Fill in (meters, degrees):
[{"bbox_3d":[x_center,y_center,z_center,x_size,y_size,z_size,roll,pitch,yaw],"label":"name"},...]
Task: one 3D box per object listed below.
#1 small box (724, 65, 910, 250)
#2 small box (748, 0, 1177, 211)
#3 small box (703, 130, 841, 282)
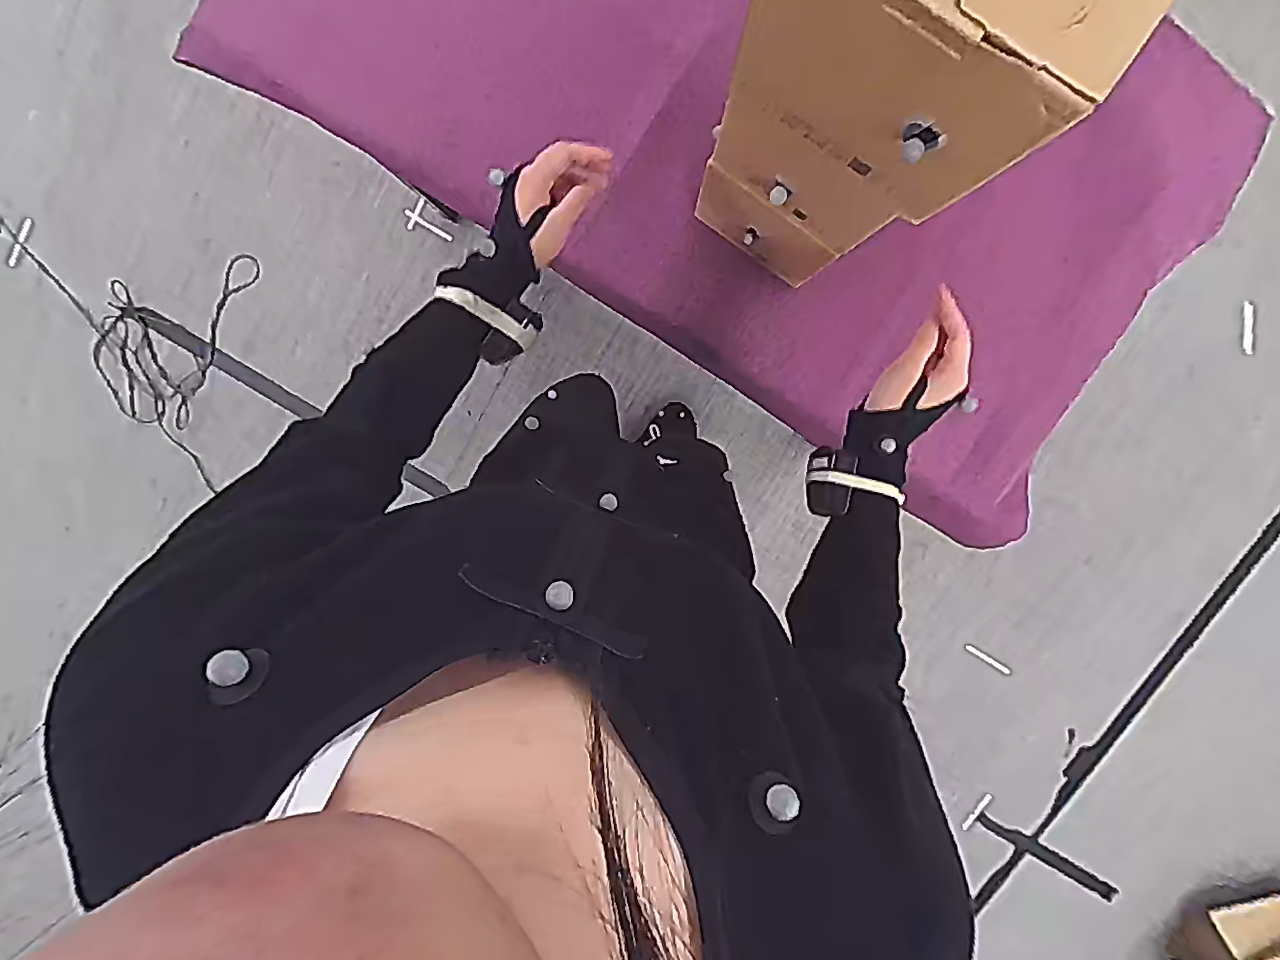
[{"bbox_3d":[0.187,-0.330,0.452,0.168,0.176,0.179,34,98,-4],"label":"small box"},{"bbox_3d":[0.175,-0.285,0.295,0.168,0.176,0.179,31,97,-5],"label":"small box"},{"bbox_3d":[0.185,-0.354,0.615,0.168,0.176,0.179,34,97,-5],"label":"small box"}]
